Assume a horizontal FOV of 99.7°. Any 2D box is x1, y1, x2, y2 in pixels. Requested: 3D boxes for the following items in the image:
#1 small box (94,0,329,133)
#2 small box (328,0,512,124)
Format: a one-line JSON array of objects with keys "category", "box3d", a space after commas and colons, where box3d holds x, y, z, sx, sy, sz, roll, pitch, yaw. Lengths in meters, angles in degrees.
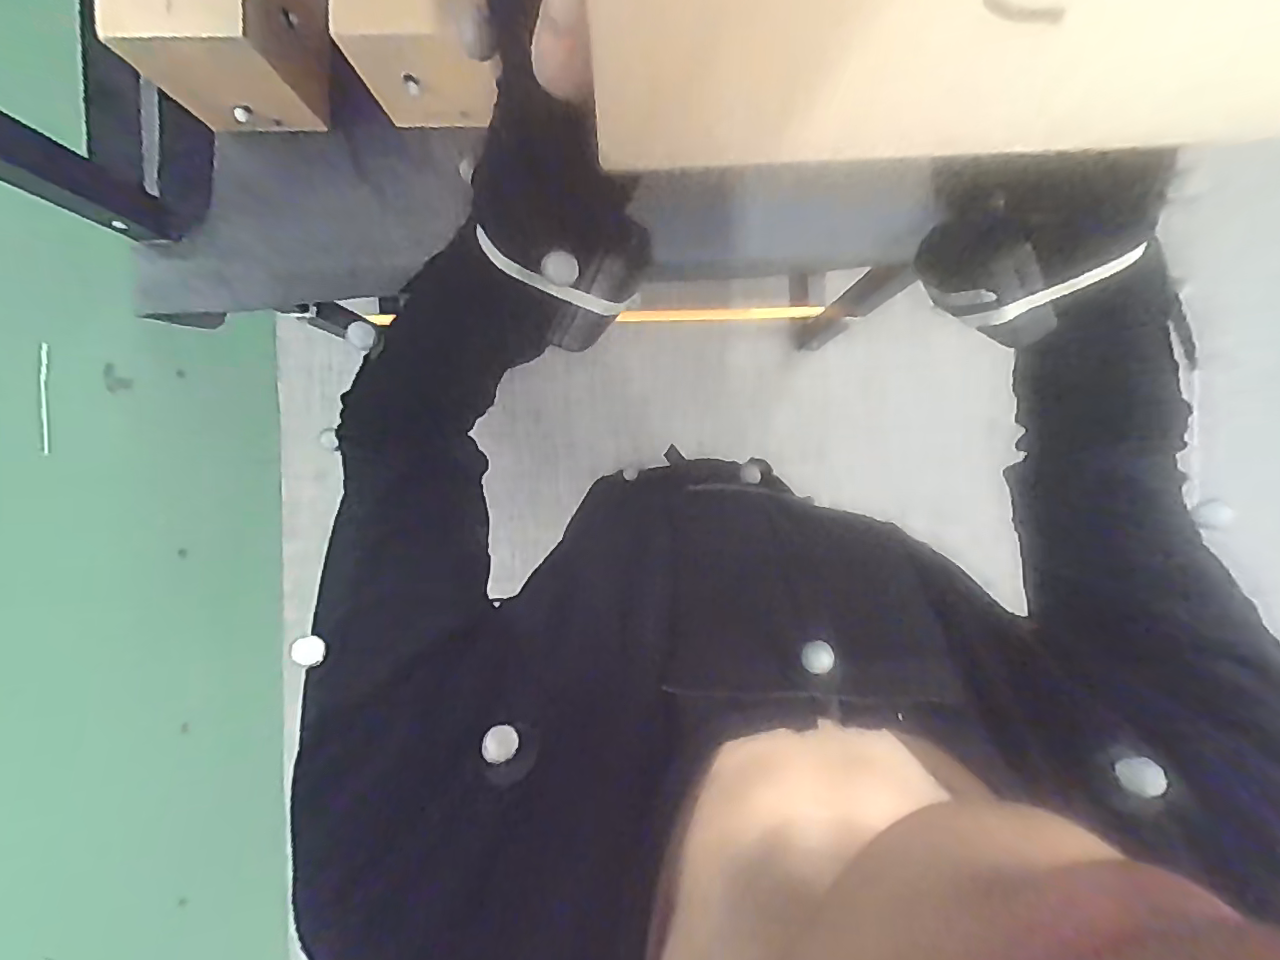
[{"category": "small box", "box3d": [-0.513, -0.572, 0.671, 0.168, 0.176, 0.179, 0, 91, 1]}, {"category": "small box", "box3d": [-0.260, -0.576, 0.672, 0.168, 0.176, 0.179, 0, 91, 0]}]
